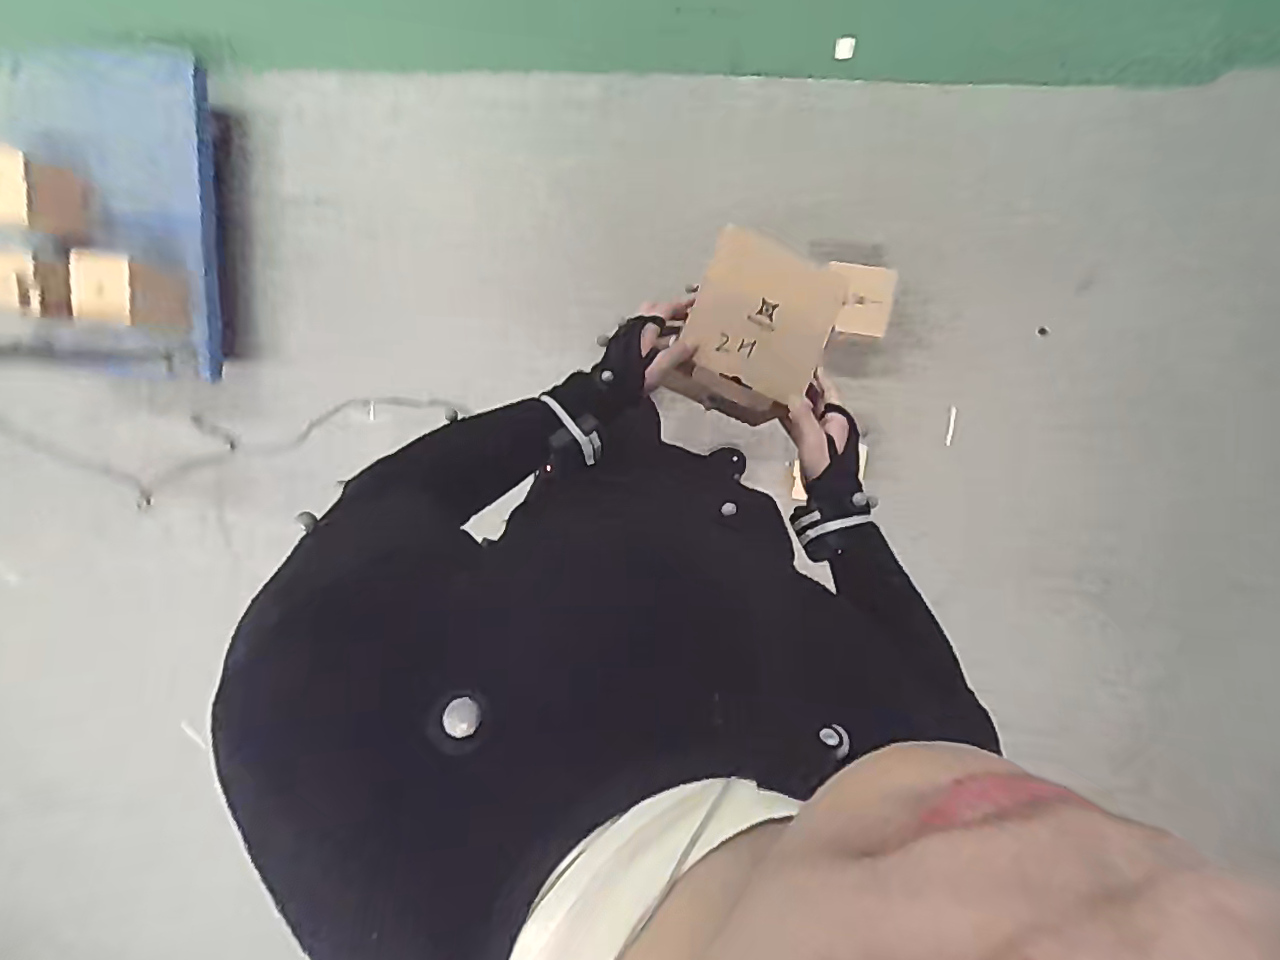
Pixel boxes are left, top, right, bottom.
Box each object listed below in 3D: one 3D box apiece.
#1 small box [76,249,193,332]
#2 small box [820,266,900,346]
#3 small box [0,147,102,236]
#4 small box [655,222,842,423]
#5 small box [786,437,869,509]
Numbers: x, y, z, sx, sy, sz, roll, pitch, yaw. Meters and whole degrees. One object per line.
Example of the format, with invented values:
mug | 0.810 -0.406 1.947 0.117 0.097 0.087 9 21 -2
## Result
small box | -1.352 -0.503 1.455 0.168 0.176 0.179 9 99 5
small box | 0.559 -0.458 1.449 0.179 0.176 0.168 11 101 4
small box | -1.606 -0.766 1.444 0.179 0.176 0.168 6 99 4
small box | 0.130 -0.193 0.717 0.168 0.176 0.179 23 86 -5
small box | 0.512 -0.026 1.503 0.179 0.176 0.168 8 100 6
